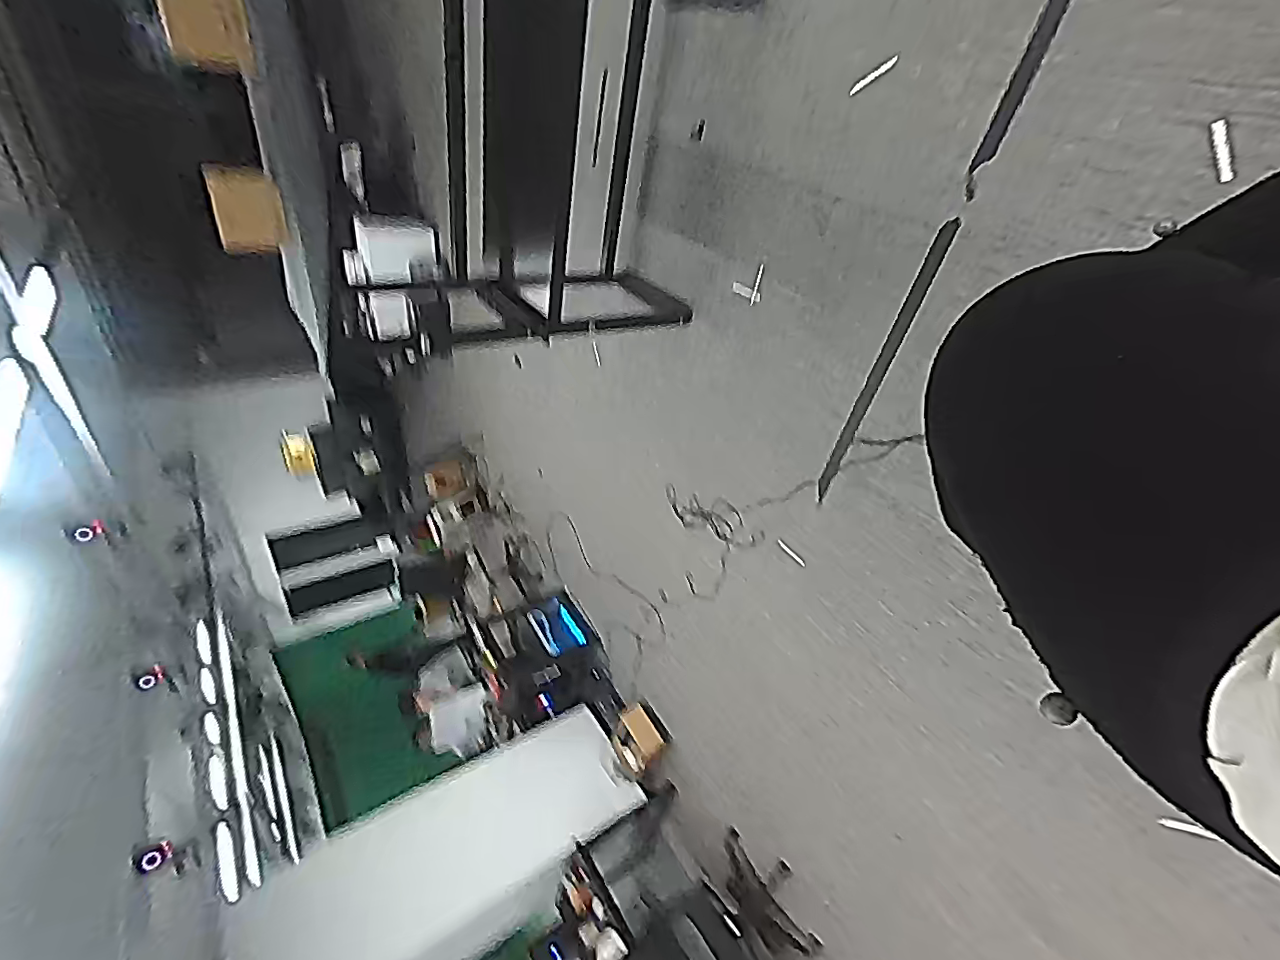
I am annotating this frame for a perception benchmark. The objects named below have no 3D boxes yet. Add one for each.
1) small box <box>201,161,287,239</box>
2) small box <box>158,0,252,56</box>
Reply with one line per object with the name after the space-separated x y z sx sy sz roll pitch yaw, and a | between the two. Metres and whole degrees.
-1.161 -0.824 1.593 0.179 0.176 0.168 47 138 37 | small box
-1.072 -1.163 1.319 0.179 0.176 0.168 48 139 34 | small box
